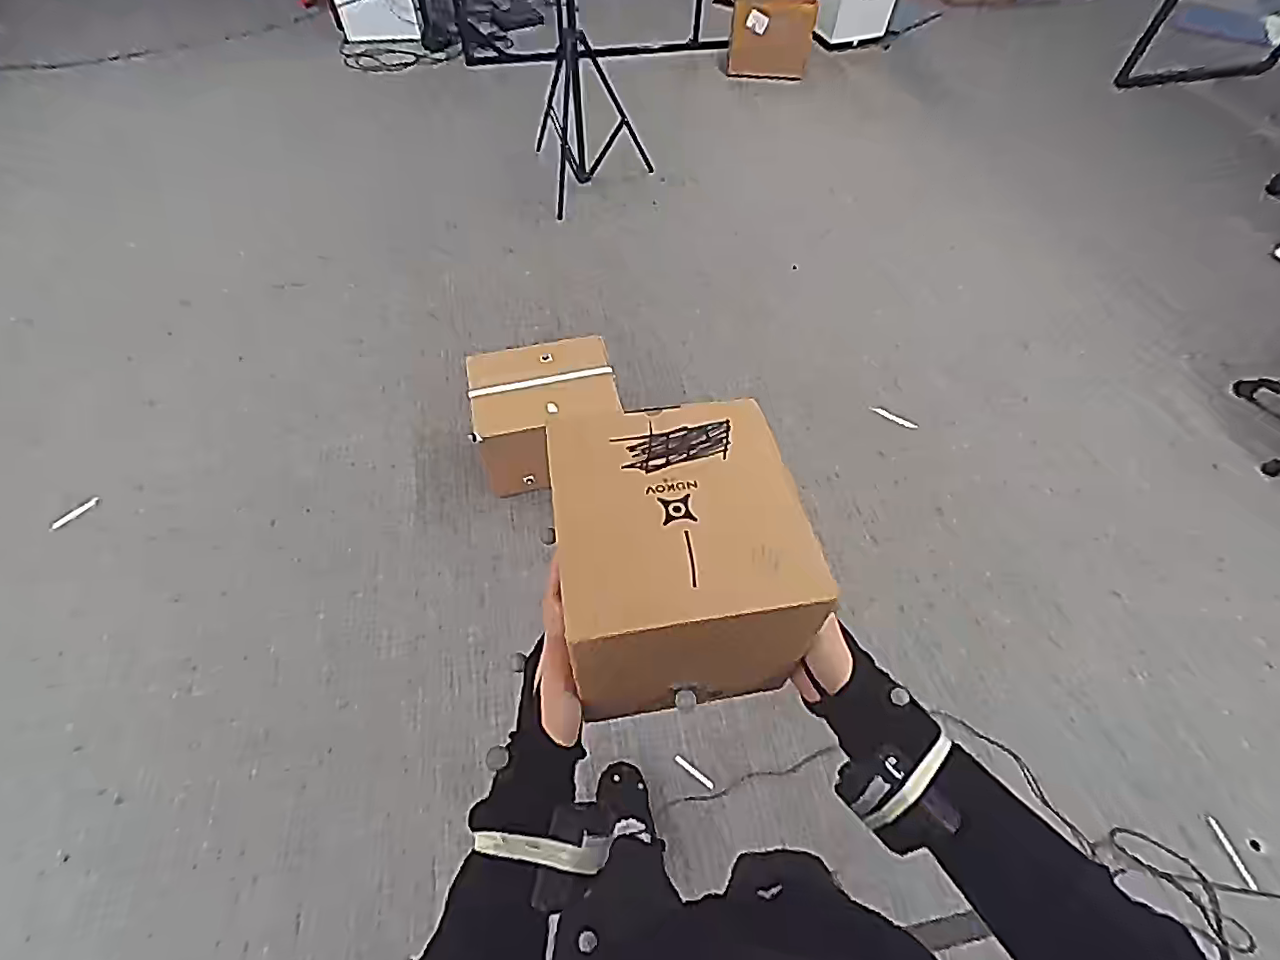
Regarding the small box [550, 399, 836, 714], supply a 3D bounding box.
[{"bbox_3d":[0.022,0.061,0.427,0.168,0.176,0.179,-7,53,-7],"label":"small box"}]
